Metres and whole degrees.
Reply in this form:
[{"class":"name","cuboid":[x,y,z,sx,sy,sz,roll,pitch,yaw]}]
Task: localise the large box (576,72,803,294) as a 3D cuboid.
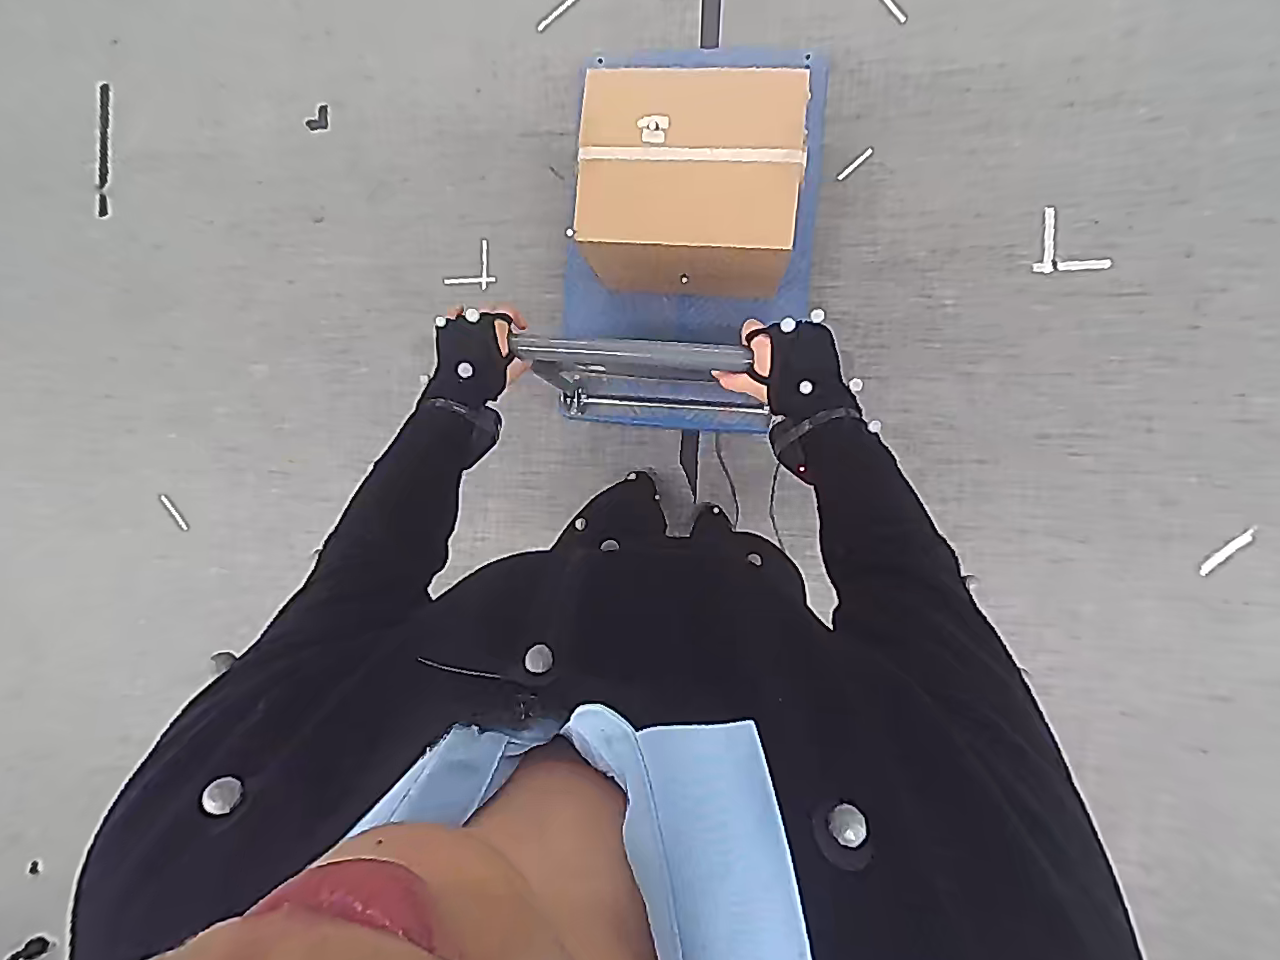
[{"class":"large box","cuboid":[0.108,-0.593,1.140,0.408,0.320,0.320,5,92,8]}]
